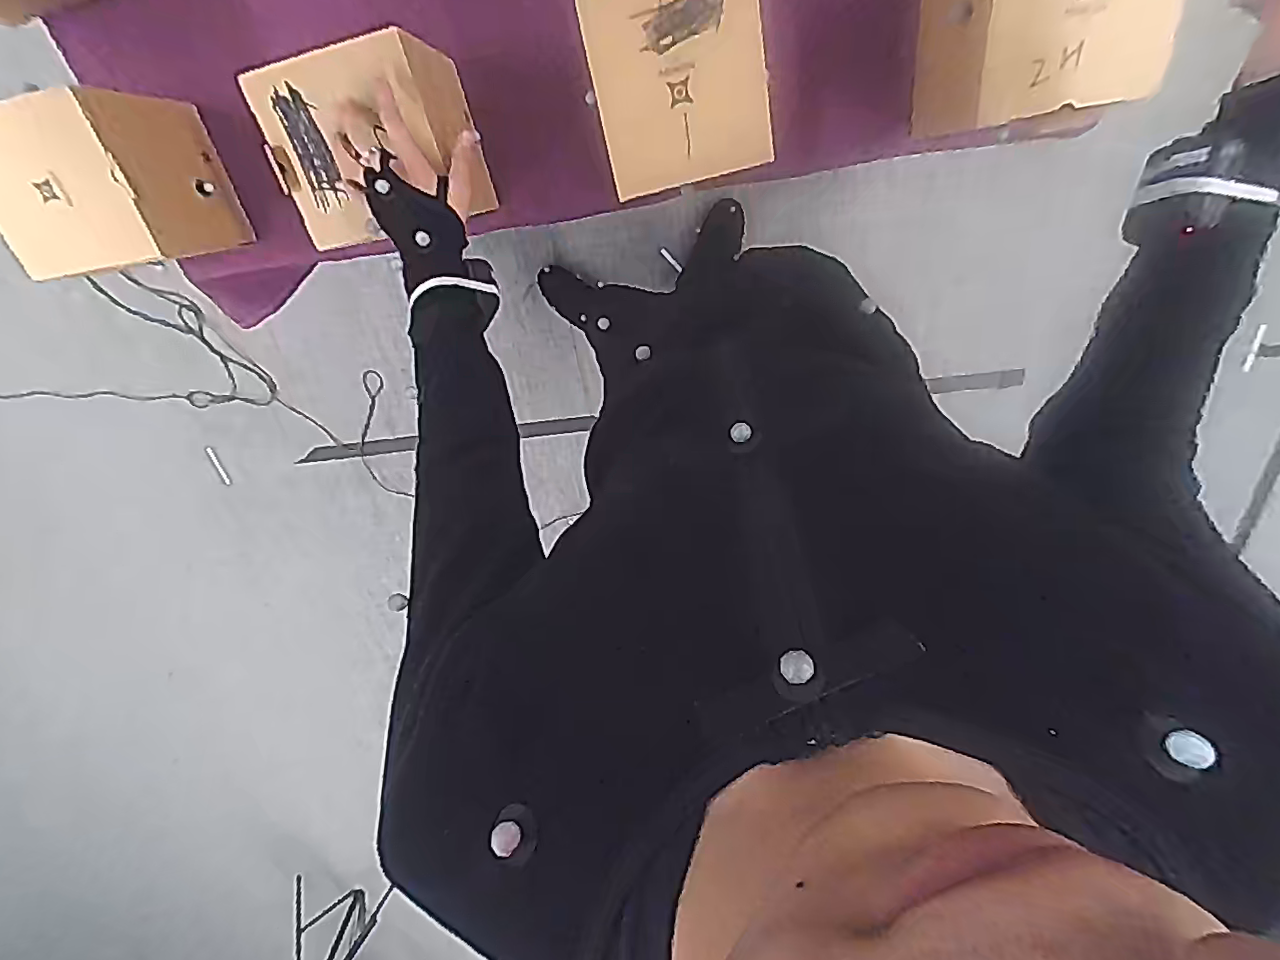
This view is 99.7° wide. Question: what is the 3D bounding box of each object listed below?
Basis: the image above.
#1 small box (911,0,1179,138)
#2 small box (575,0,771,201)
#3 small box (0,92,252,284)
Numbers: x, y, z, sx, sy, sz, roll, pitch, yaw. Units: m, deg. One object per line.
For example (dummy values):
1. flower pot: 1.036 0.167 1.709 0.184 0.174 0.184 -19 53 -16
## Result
1. small box: 0.393 -0.465 0.546 0.168 0.176 0.179 -6 118 7
2. small box: 0.038 -0.420 0.590 0.168 0.176 0.179 -11 119 9
3. small box: -0.638 -0.348 0.661 0.179 0.176 0.168 -8 118 6
